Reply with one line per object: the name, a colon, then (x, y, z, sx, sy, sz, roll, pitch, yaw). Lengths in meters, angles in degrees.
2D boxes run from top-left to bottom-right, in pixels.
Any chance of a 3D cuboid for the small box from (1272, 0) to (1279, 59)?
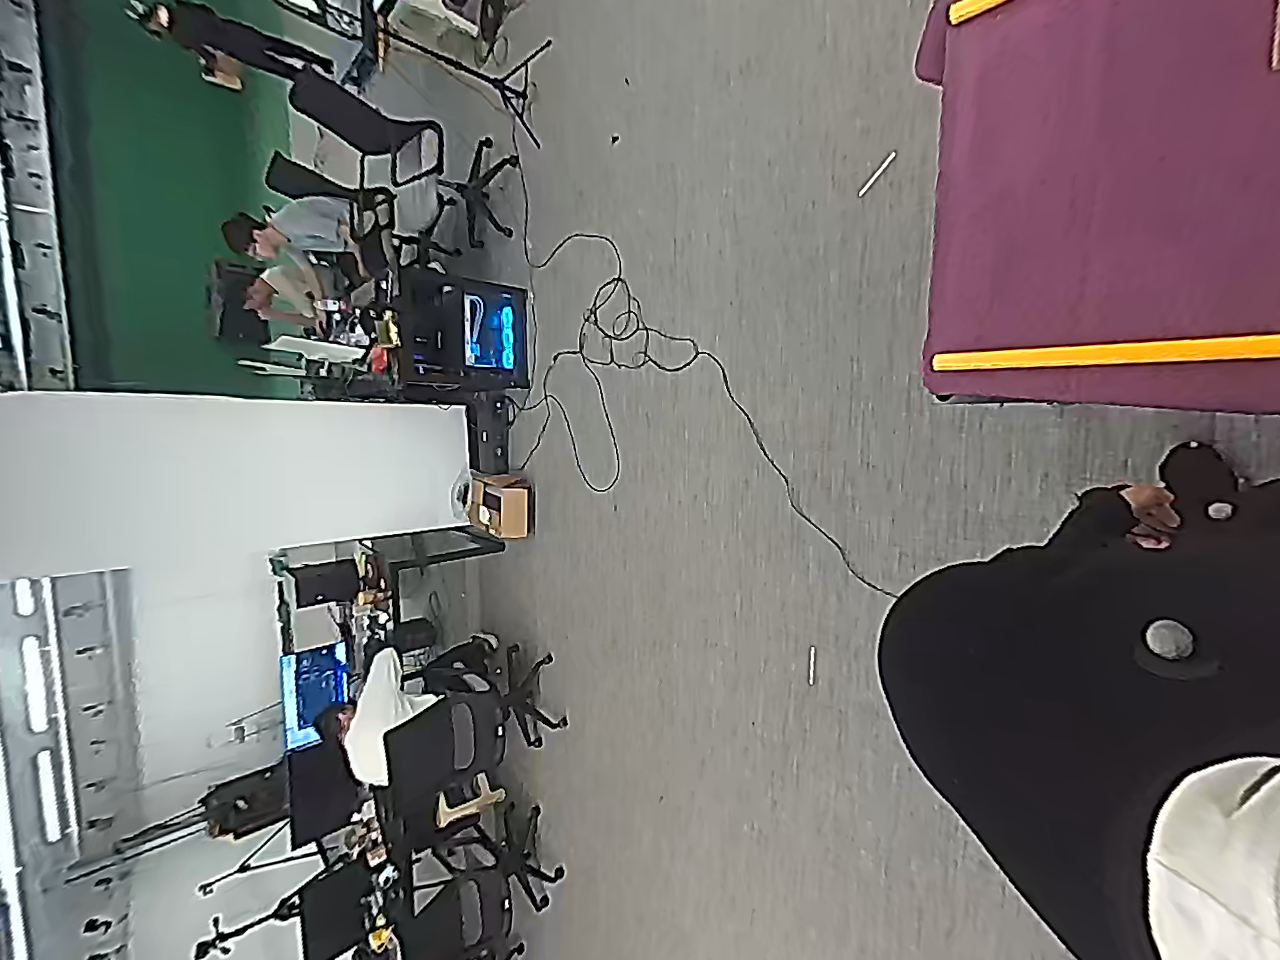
small box: (0.688, -0.522, 0.473, 0.168, 0.176, 0.179, 4, 98, 48)
